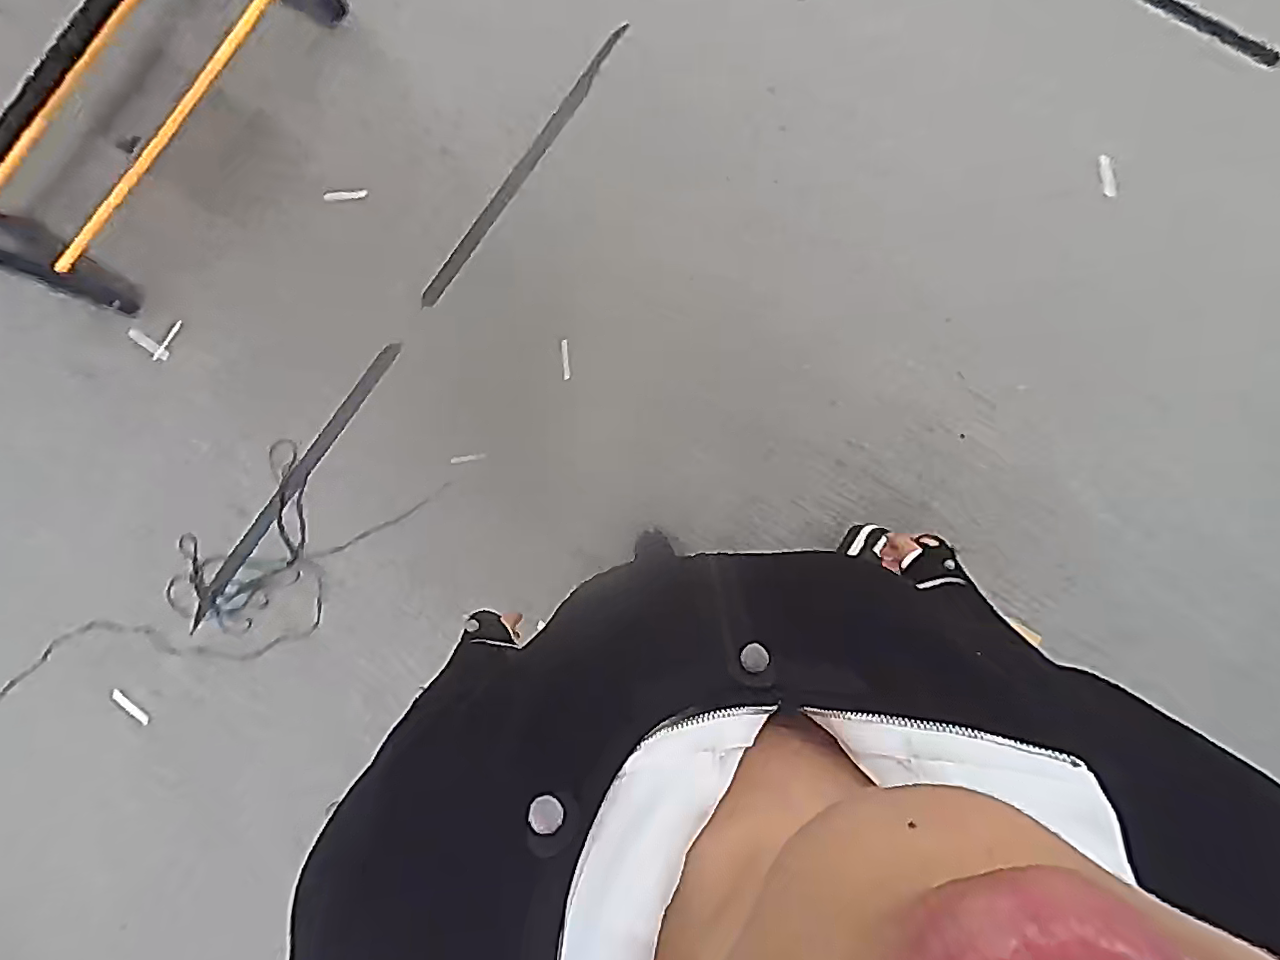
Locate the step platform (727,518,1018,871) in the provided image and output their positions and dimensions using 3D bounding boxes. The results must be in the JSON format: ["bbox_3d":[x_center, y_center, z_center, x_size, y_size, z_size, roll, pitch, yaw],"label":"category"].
[{"bbox_3d":[0.472,0.423,1.153,0.286,0.204,0.684,33,89,5],"label":"step platform"}]

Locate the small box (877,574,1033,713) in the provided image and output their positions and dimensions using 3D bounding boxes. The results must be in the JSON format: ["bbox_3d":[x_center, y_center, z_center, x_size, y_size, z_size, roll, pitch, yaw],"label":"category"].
[{"bbox_3d":[0.579,0.298,1.027,0.168,0.176,0.179,30,88,4],"label":"small box"}]
